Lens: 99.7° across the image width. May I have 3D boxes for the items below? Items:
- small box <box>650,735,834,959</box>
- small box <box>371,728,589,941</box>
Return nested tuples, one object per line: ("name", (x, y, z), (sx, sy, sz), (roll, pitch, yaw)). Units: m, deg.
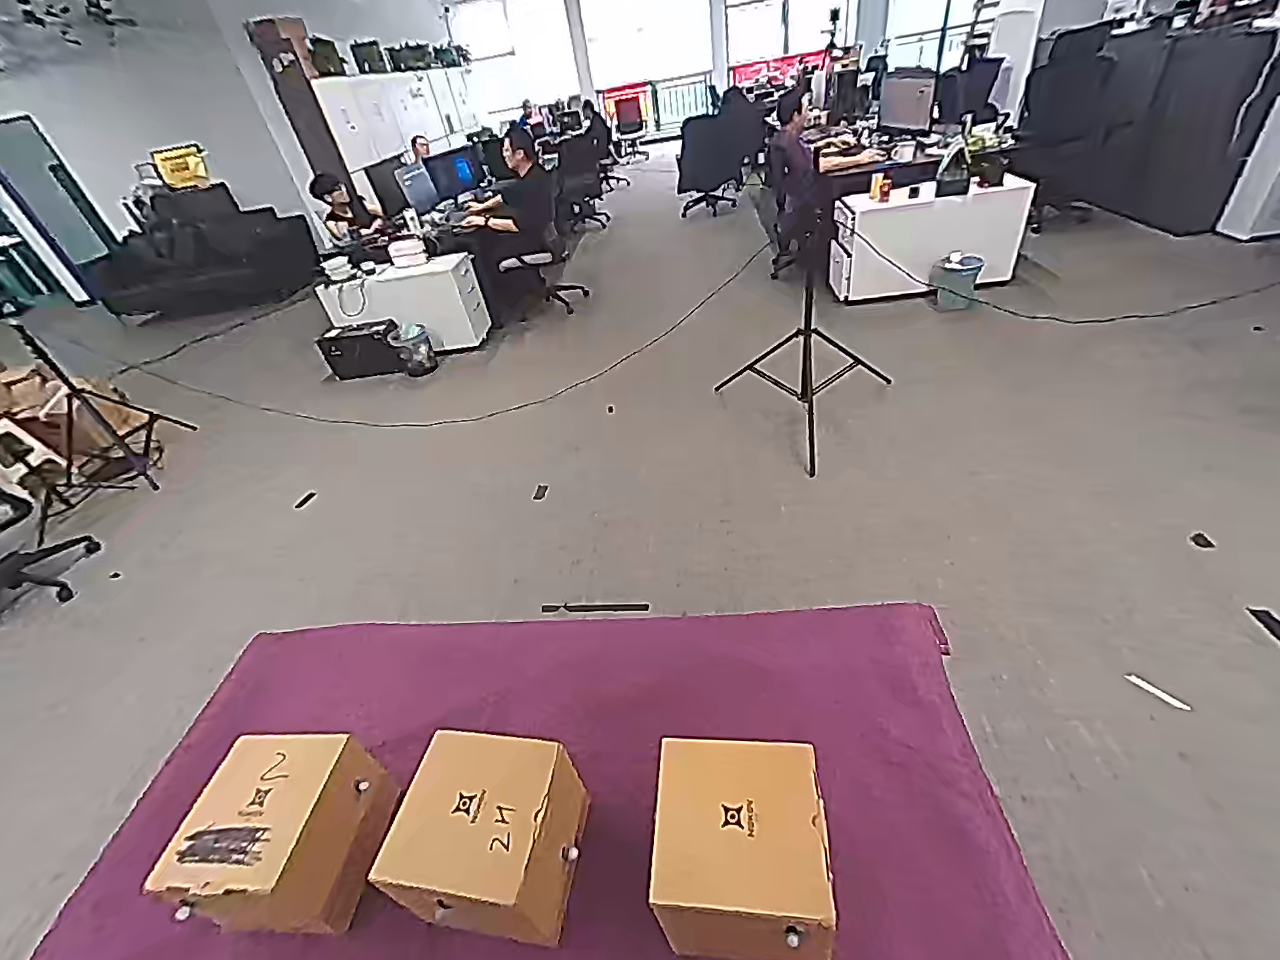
("small box", (0.116, 0.415, 0.616), (0.179, 0.176, 0.168), (-3, 36, 10))
("small box", (-0.179, 0.433, 0.665), (0.179, 0.176, 0.168), (0, 39, 13))
